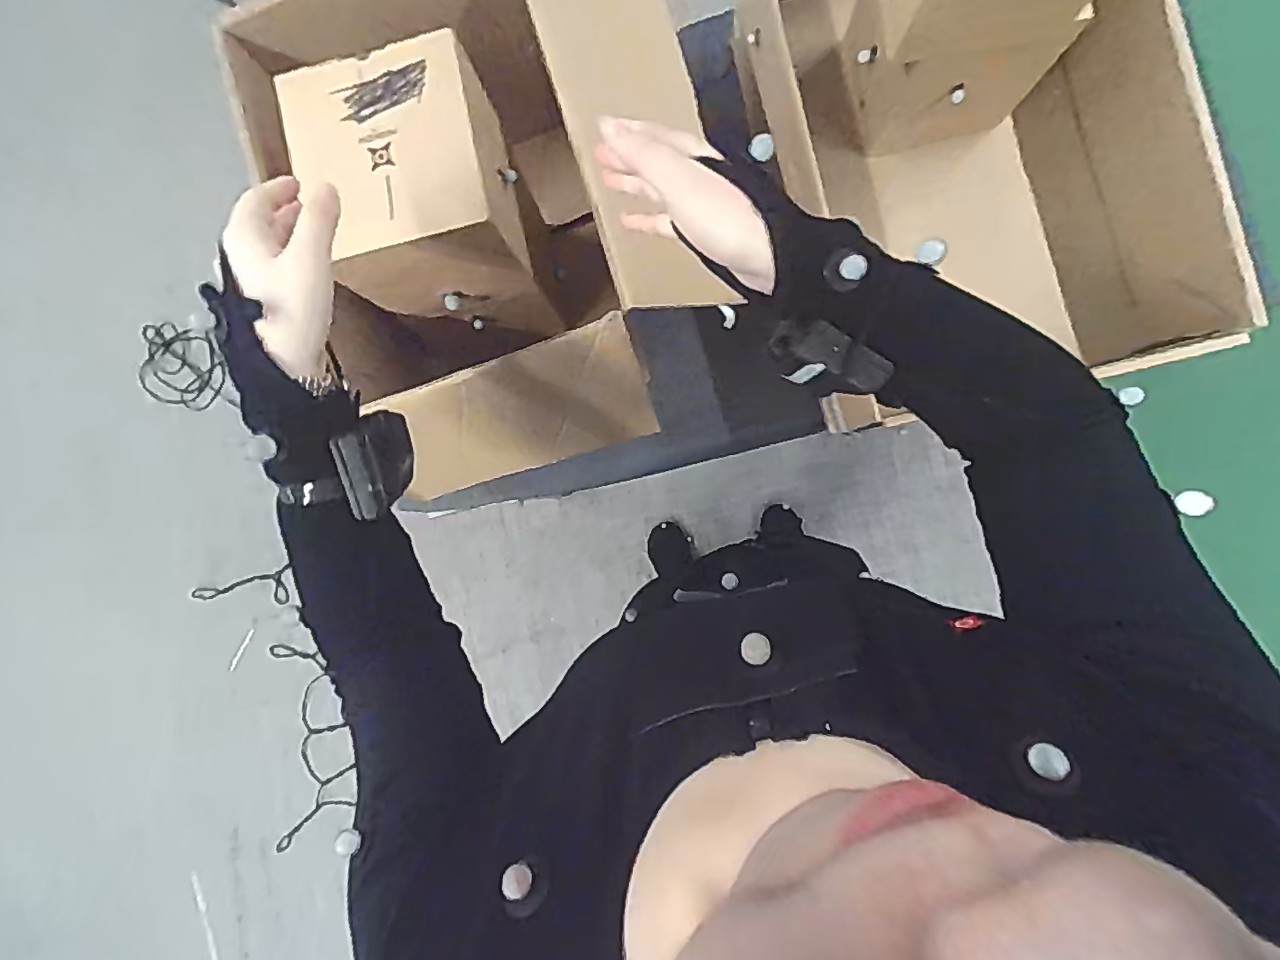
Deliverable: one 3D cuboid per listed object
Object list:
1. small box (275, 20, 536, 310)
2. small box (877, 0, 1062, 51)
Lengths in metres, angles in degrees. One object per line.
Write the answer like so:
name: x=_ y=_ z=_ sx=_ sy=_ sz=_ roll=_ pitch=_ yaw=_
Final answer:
small box: x=-0.218 y=-0.296 z=0.548 sx=0.168 sy=0.176 sz=0.179 roll=-12 pitch=90 yaw=5
small box: x=0.318 y=-0.528 z=0.478 sx=0.179 sy=0.176 sz=0.168 roll=-7 pitch=90 yaw=4
